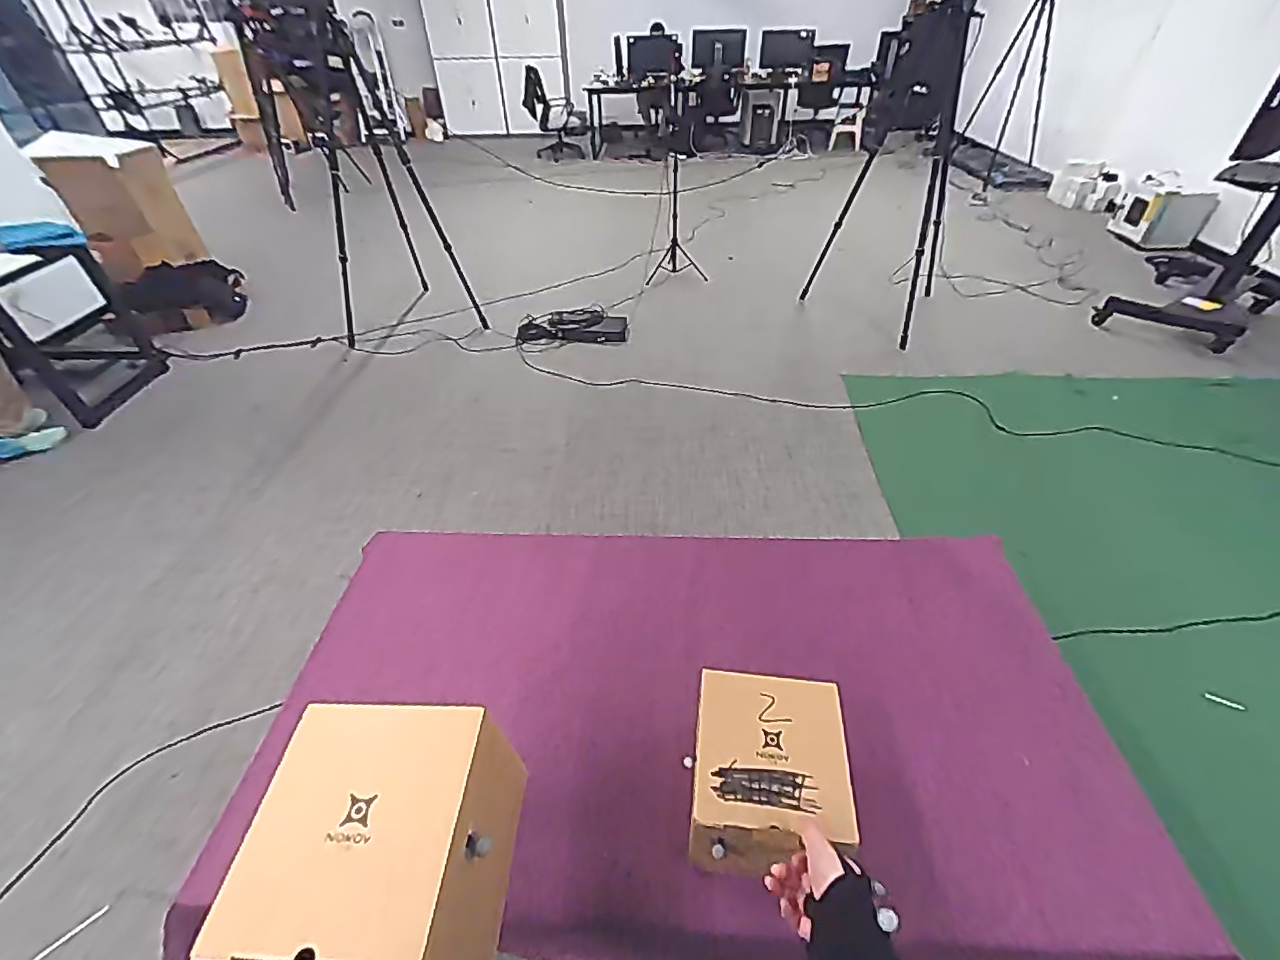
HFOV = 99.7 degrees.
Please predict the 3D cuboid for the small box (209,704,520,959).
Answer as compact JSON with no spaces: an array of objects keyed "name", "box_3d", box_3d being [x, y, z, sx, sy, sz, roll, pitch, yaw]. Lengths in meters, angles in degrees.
[{"name":"small box","box_3d":[-0.217,0.324,0.491,0.168,0.176,0.179,-1,46,5]}]
